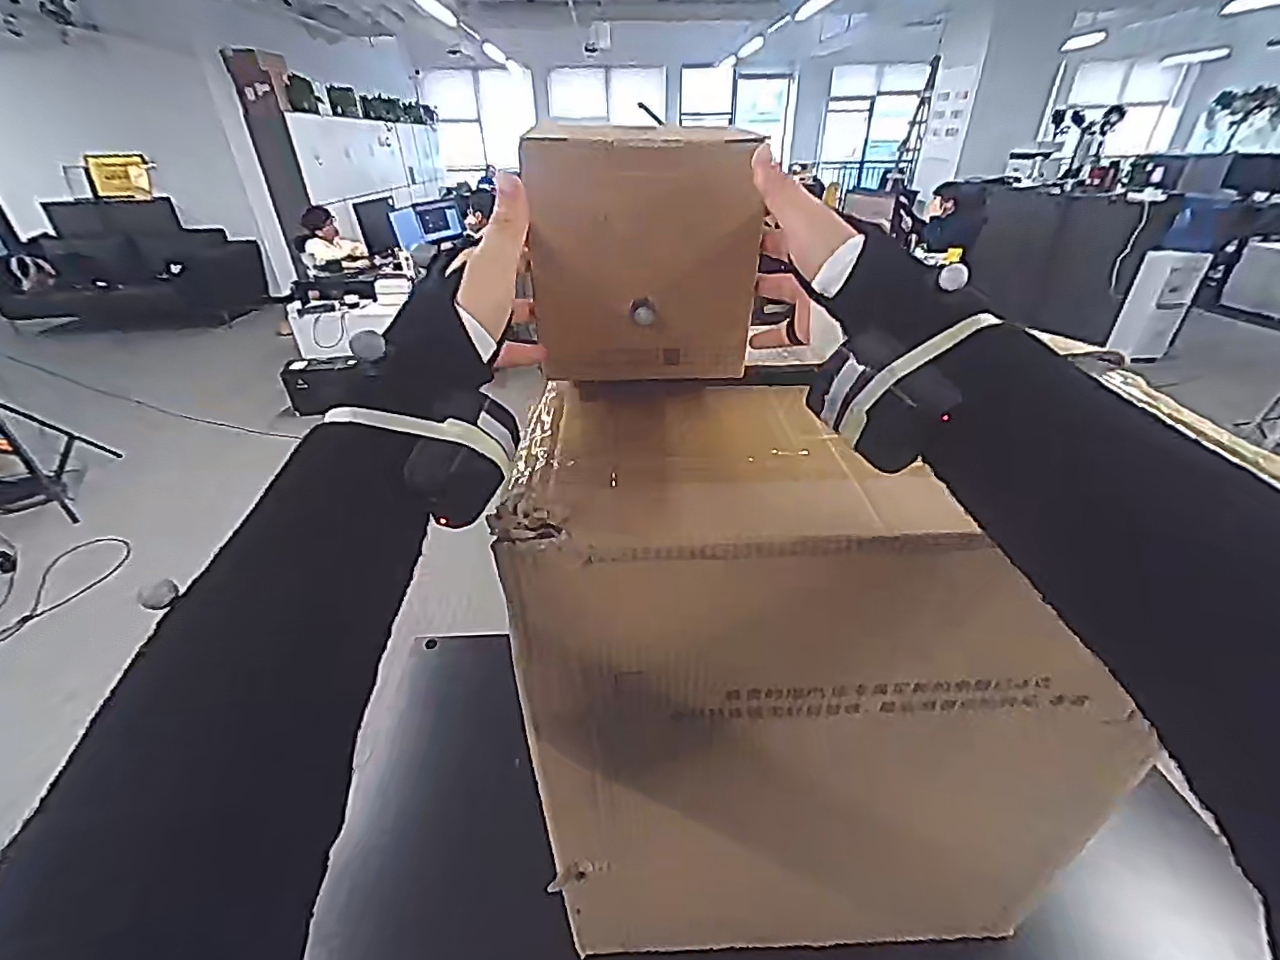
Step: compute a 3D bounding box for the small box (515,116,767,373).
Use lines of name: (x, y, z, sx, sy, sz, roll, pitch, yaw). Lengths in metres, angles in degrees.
small box: (-0.005, -0.202, 0.457, 0.168, 0.176, 0.179, -2, 36, -3)
